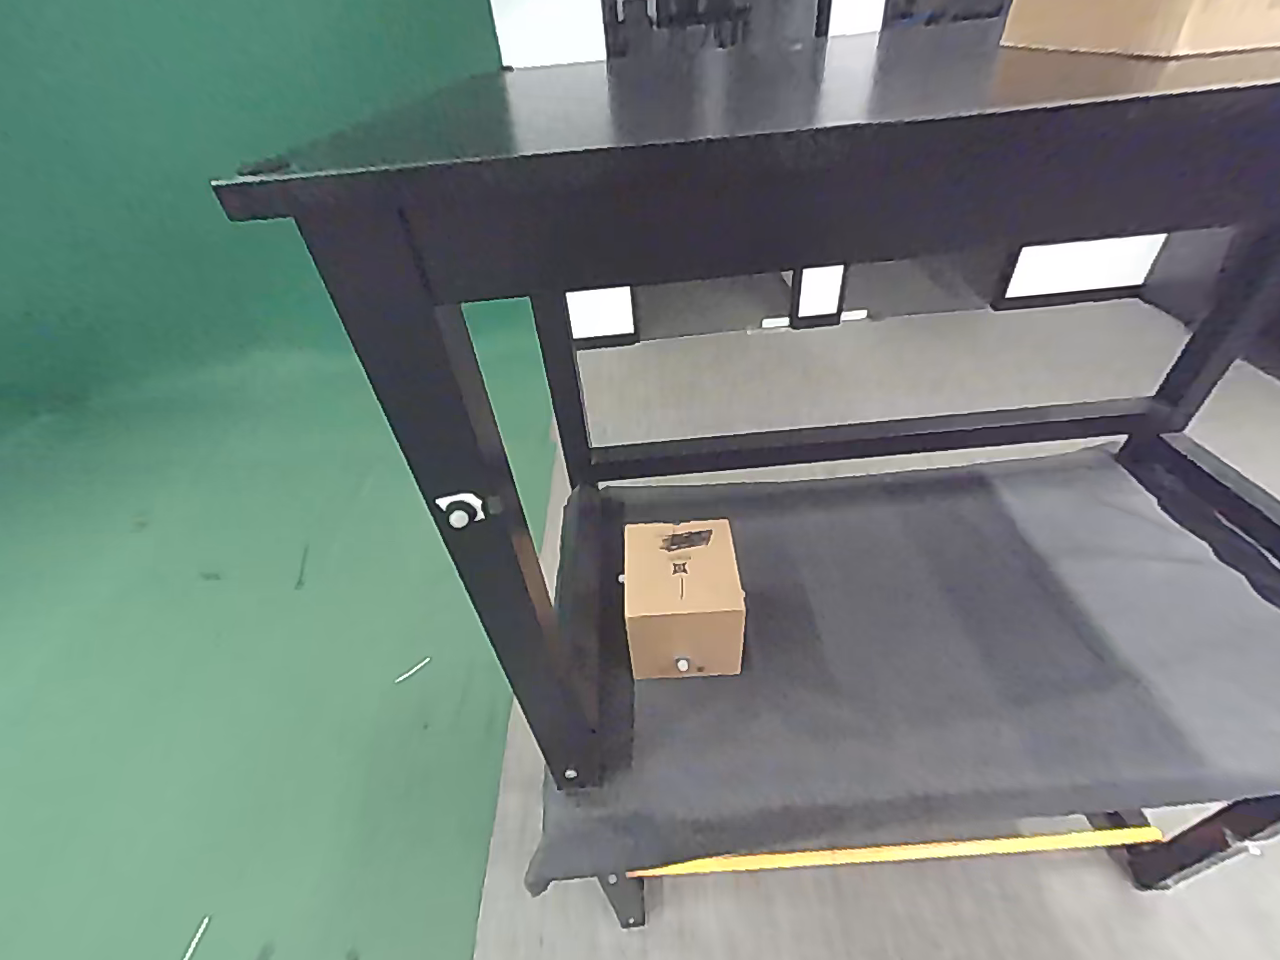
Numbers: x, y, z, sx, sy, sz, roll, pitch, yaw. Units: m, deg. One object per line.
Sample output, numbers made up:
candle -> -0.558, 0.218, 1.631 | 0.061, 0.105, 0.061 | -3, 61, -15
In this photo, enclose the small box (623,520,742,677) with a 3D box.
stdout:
small box -> 0.062, 0.184, 0.846 | 0.168, 0.176, 0.179 | -4, 41, 2
